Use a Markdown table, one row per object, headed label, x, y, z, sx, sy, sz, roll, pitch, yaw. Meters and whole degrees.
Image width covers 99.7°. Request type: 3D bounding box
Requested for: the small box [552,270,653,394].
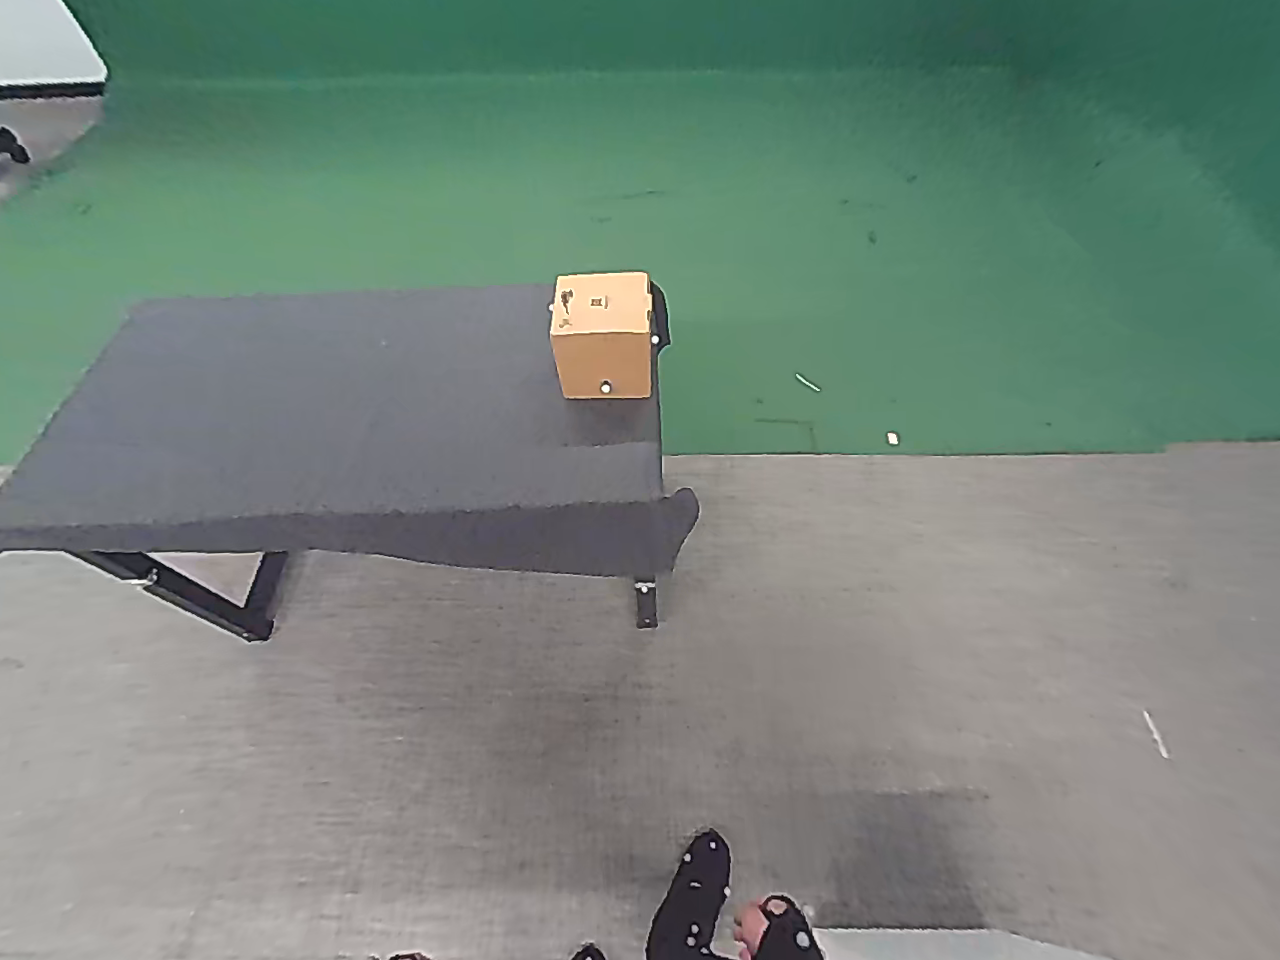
| label | x | y | z | sx | sy | sz | roll | pitch | yaw |
| --- | --- | --- | --- | --- | --- | --- | --- | --- | --- |
| small box | -0.066 | -0.280 | 1.040 | 0.179 | 0.176 | 0.168 | 1 | 56 | 0 |
